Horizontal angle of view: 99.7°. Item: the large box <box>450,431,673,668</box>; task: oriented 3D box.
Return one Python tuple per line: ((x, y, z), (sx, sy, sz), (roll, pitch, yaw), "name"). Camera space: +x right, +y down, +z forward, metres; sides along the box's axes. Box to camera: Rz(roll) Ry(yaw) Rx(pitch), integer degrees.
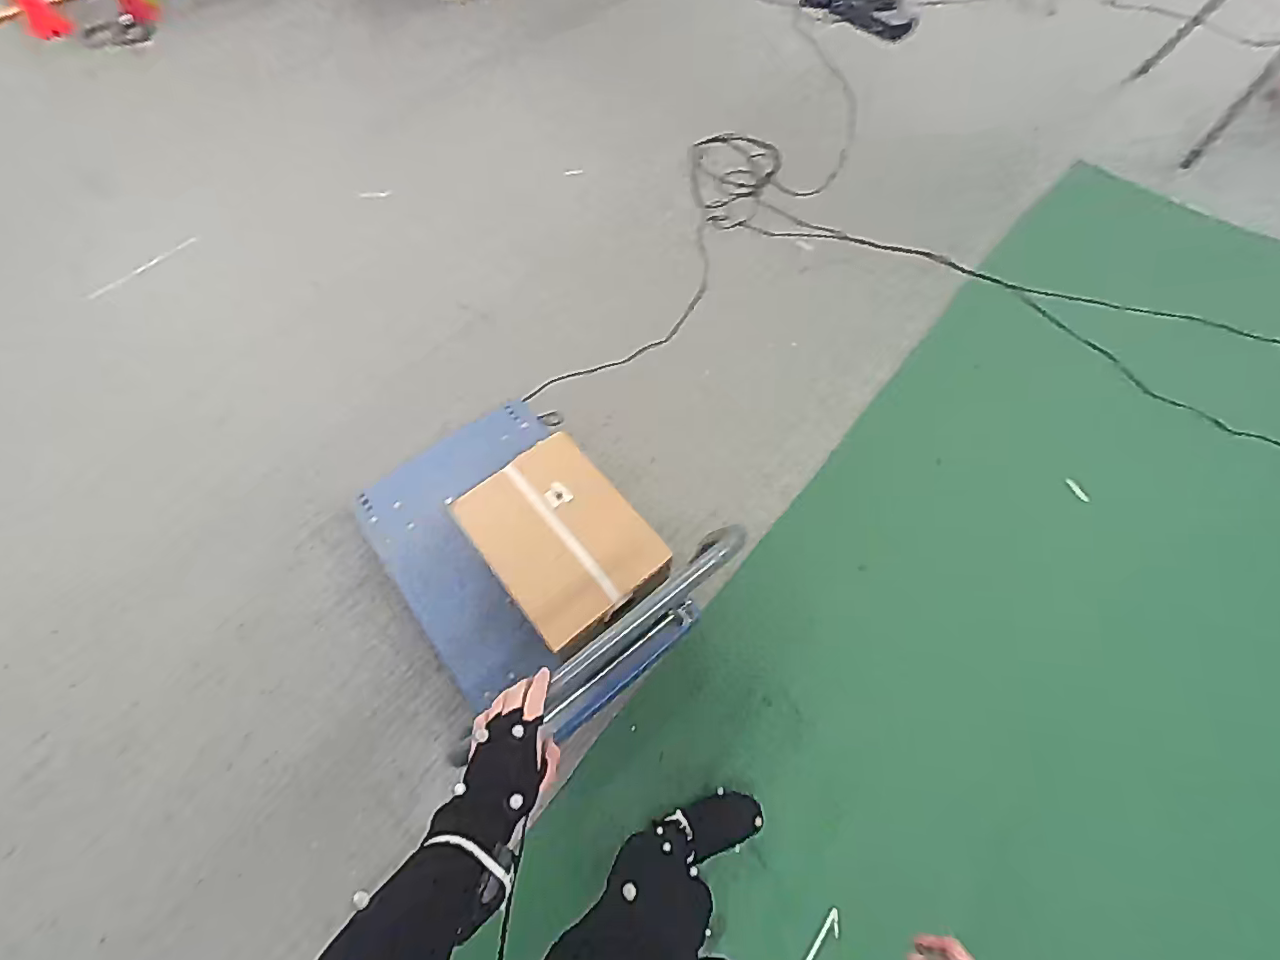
((-0.170, 0.171, 1.282), (0.320, 0.320, 0.408), (-36, 68, -18), "large box")
